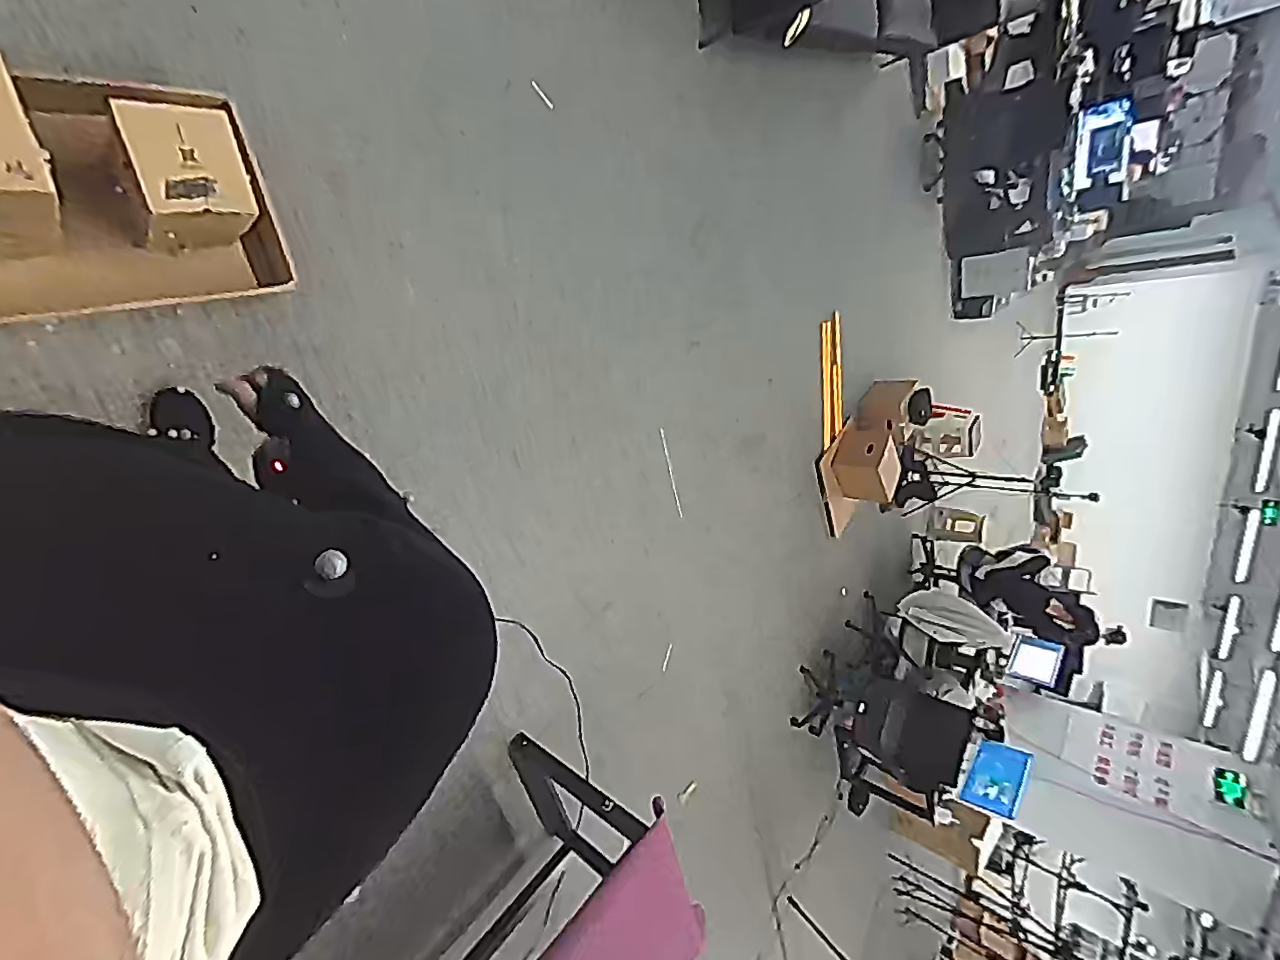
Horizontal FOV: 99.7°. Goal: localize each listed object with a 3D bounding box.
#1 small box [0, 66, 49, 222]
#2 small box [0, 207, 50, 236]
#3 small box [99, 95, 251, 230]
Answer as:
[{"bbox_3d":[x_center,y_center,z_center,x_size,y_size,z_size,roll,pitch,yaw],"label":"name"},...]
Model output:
[{"bbox_3d":[-0.929,-0.457,0.709,0.168,0.176,0.179,-24,111,-43],"label":"small box"},{"bbox_3d":[-1.050,-0.481,0.818,0.168,0.176,0.179,-28,115,-42],"label":"small box"},{"bbox_3d":[-0.860,-0.573,1.005,0.168,0.176,0.179,-24,112,-41],"label":"small box"}]
